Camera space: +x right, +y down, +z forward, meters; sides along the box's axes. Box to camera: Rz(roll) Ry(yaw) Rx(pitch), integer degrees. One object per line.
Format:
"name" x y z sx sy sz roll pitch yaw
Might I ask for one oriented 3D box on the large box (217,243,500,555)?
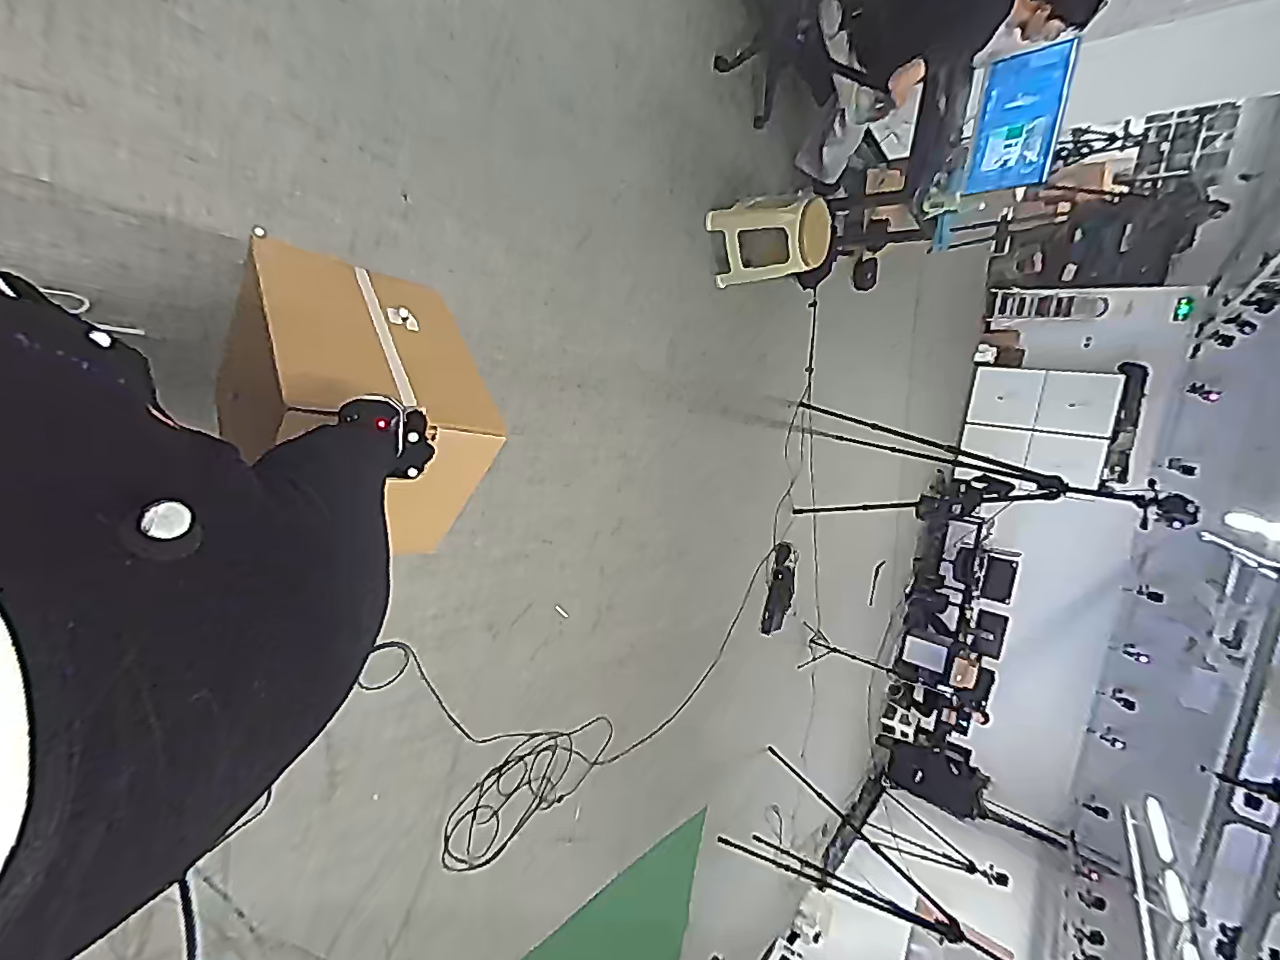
"large box" -0.505 -0.124 0.939 0.320 0.408 0.320 5 133 -47
